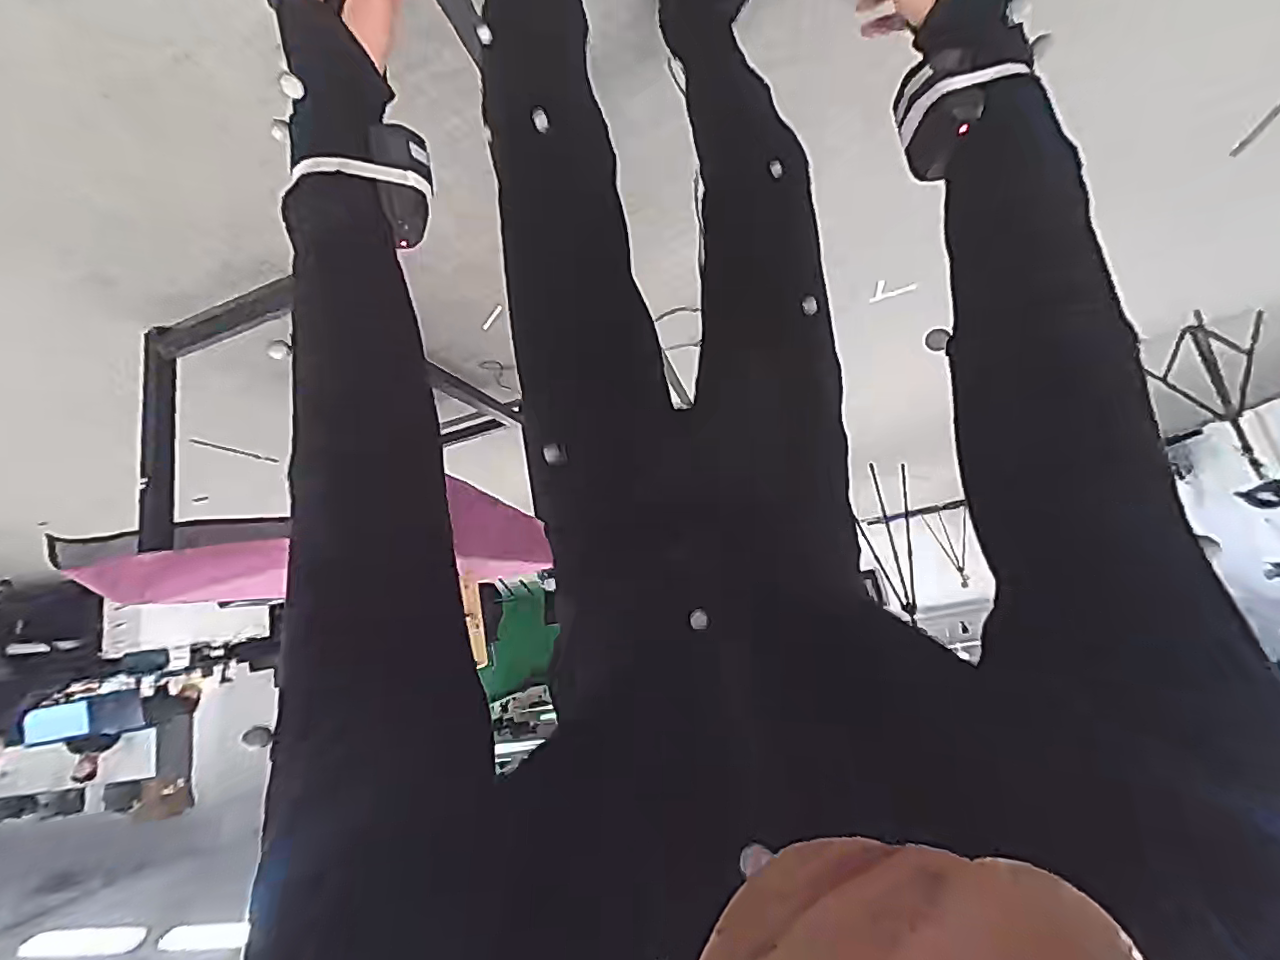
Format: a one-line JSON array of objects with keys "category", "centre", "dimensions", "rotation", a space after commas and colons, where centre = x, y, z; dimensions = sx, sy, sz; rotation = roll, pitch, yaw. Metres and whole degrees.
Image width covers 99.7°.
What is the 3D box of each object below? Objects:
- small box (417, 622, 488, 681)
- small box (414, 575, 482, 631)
[{"category": "small box", "centre": [-0.667, 0.600, 1.918], "dimensions": [0.179, 0.176, 0.168], "rotation": [-14, 166, 18]}, {"category": "small box", "centre": [-0.697, 0.442, 1.953], "dimensions": [0.179, 0.176, 0.168], "rotation": [-15, 167, 14]}]
